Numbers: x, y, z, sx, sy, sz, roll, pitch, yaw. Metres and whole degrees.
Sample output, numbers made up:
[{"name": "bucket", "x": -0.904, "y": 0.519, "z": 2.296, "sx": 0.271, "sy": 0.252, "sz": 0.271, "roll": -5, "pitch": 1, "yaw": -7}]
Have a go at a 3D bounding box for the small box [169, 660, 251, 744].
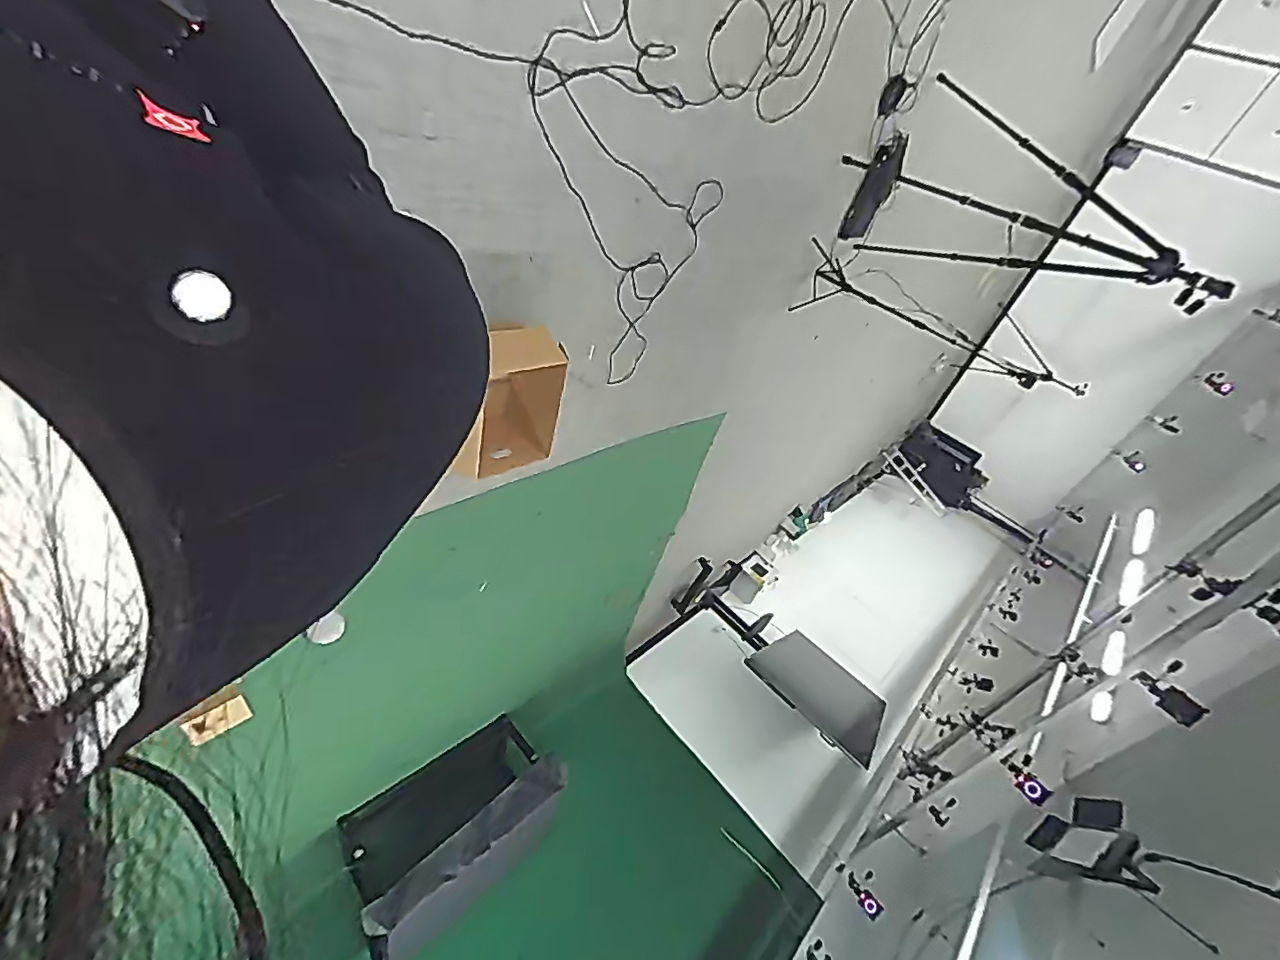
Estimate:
[{"name": "small box", "x": -1.501, "y": 0.767, "z": 1.882, "sx": 0.179, "sy": 0.176, "sz": 0.168, "roll": -27, "pitch": 147, "yaw": -40}]
